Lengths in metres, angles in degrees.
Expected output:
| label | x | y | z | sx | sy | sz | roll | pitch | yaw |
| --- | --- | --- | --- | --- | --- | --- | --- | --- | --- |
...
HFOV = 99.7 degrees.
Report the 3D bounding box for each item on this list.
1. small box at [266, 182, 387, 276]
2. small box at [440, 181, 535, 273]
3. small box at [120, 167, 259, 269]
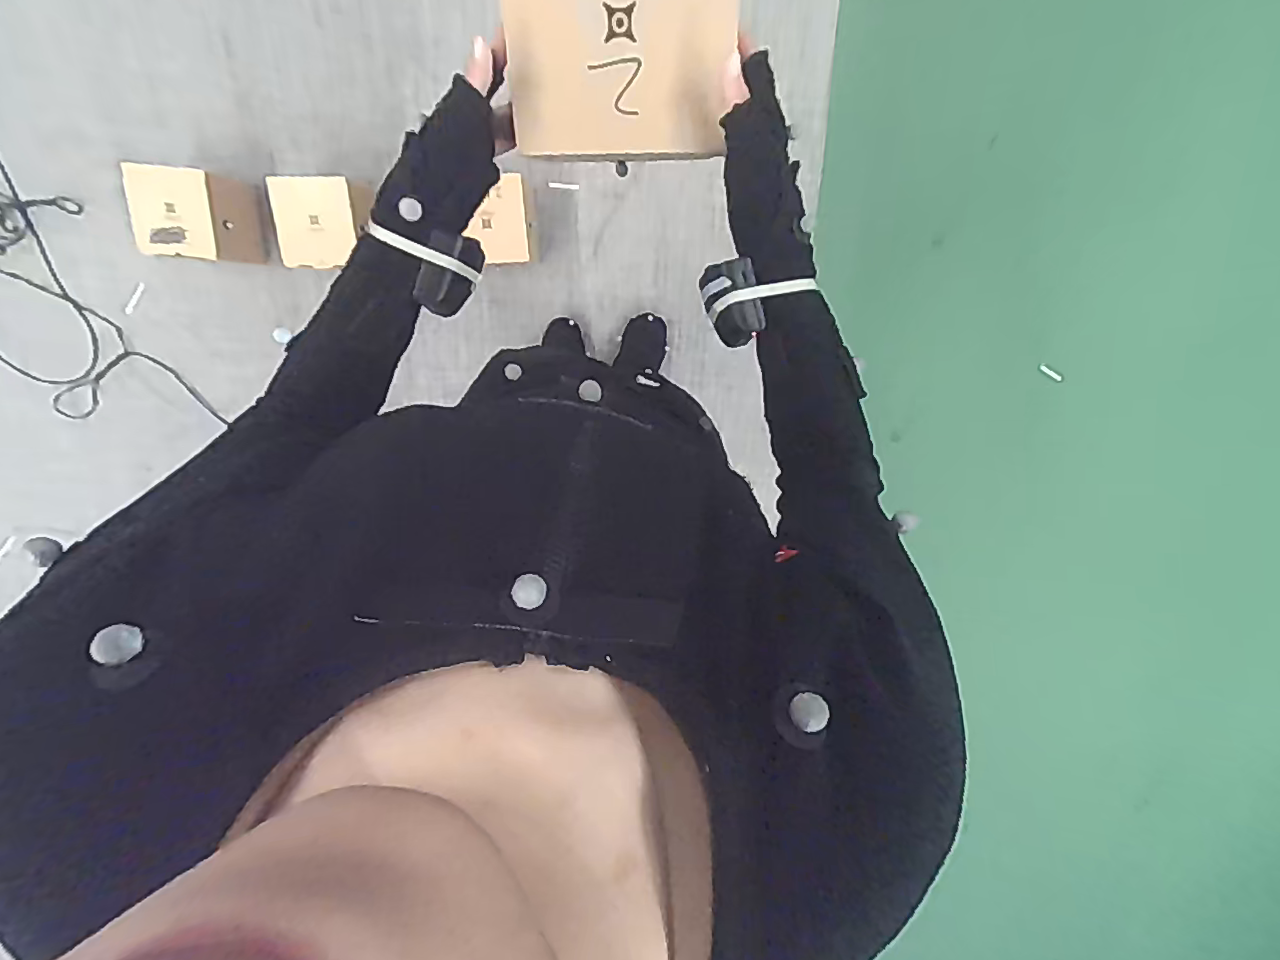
| label | x | y | z | sx | sy | sz | roll | pitch | yaw |
| --- | --- | --- | --- | --- | --- | --- | --- | --- | --- |
| small box | -0.696 | -0.558 | 1.221 | 0.168 | 0.176 | 0.179 | -1 | 109 | -2 |
| small box | -0.337 | -0.567 | 1.231 | 0.168 | 0.176 | 0.179 | -3 | 108 | -2 |
| small box | -0.986 | -0.573 | 1.203 | 0.168 | 0.176 | 0.179 | 4 | 107 | -4 |
